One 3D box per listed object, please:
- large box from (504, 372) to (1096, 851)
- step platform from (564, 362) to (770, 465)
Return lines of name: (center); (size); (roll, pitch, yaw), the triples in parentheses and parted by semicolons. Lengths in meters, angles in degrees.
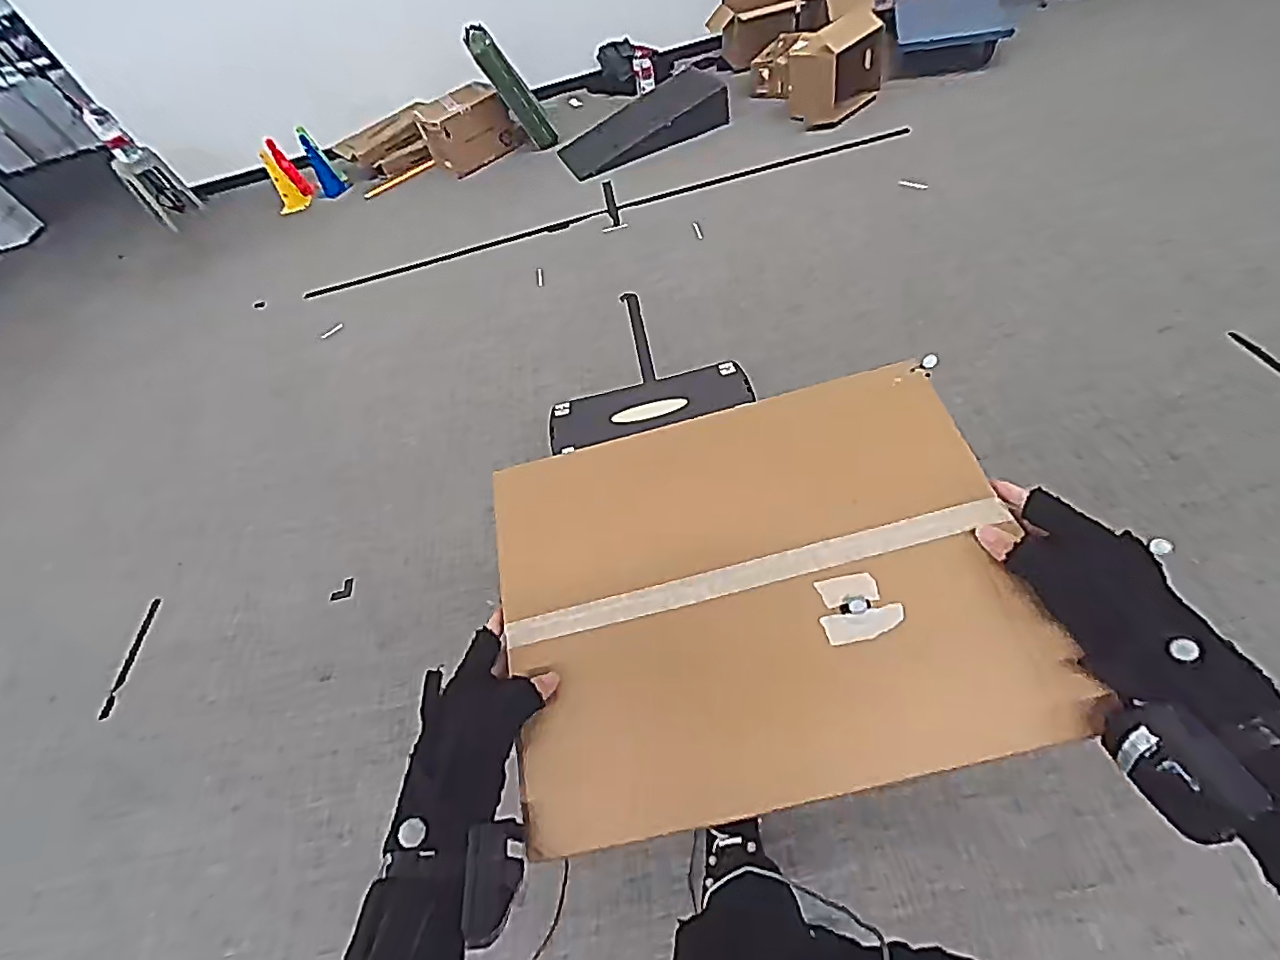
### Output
large box: (0.113, 0.148, 0.574); (0.408, 0.320, 0.320); (-15, 62, 3)
step platform: (0.089, -0.169, 1.807); (0.684, 0.204, 0.286); (-14, 52, 2)
